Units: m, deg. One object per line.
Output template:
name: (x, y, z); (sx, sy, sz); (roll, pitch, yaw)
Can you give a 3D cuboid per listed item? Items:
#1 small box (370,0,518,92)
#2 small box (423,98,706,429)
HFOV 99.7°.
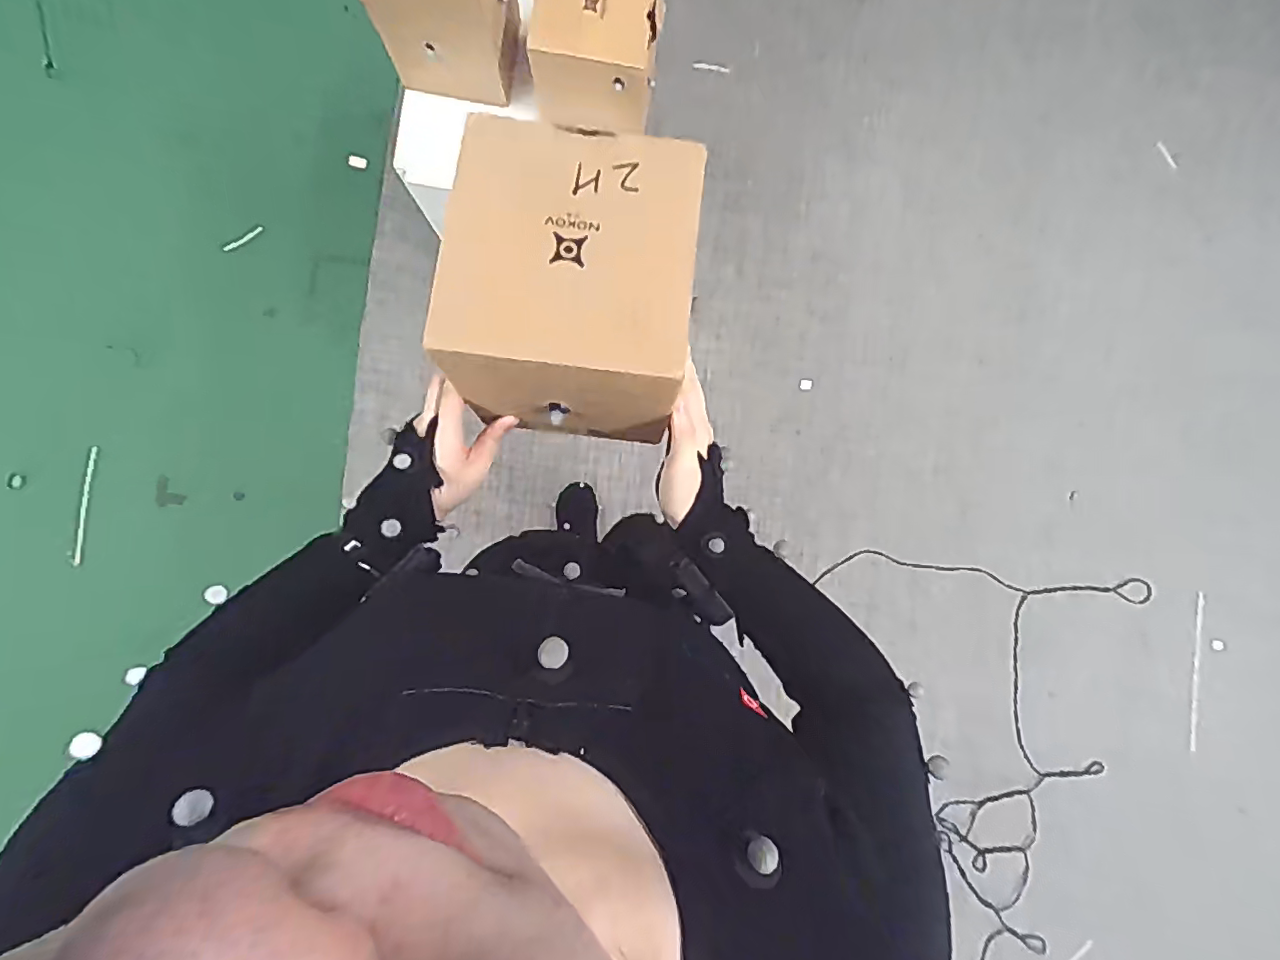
small box: (-0.295, -0.739, 0.826); (0.179, 0.176, 0.168); (8, 90, -4)
small box: (-0.050, -0.149, 0.430); (0.168, 0.176, 0.179); (7, 80, -3)
